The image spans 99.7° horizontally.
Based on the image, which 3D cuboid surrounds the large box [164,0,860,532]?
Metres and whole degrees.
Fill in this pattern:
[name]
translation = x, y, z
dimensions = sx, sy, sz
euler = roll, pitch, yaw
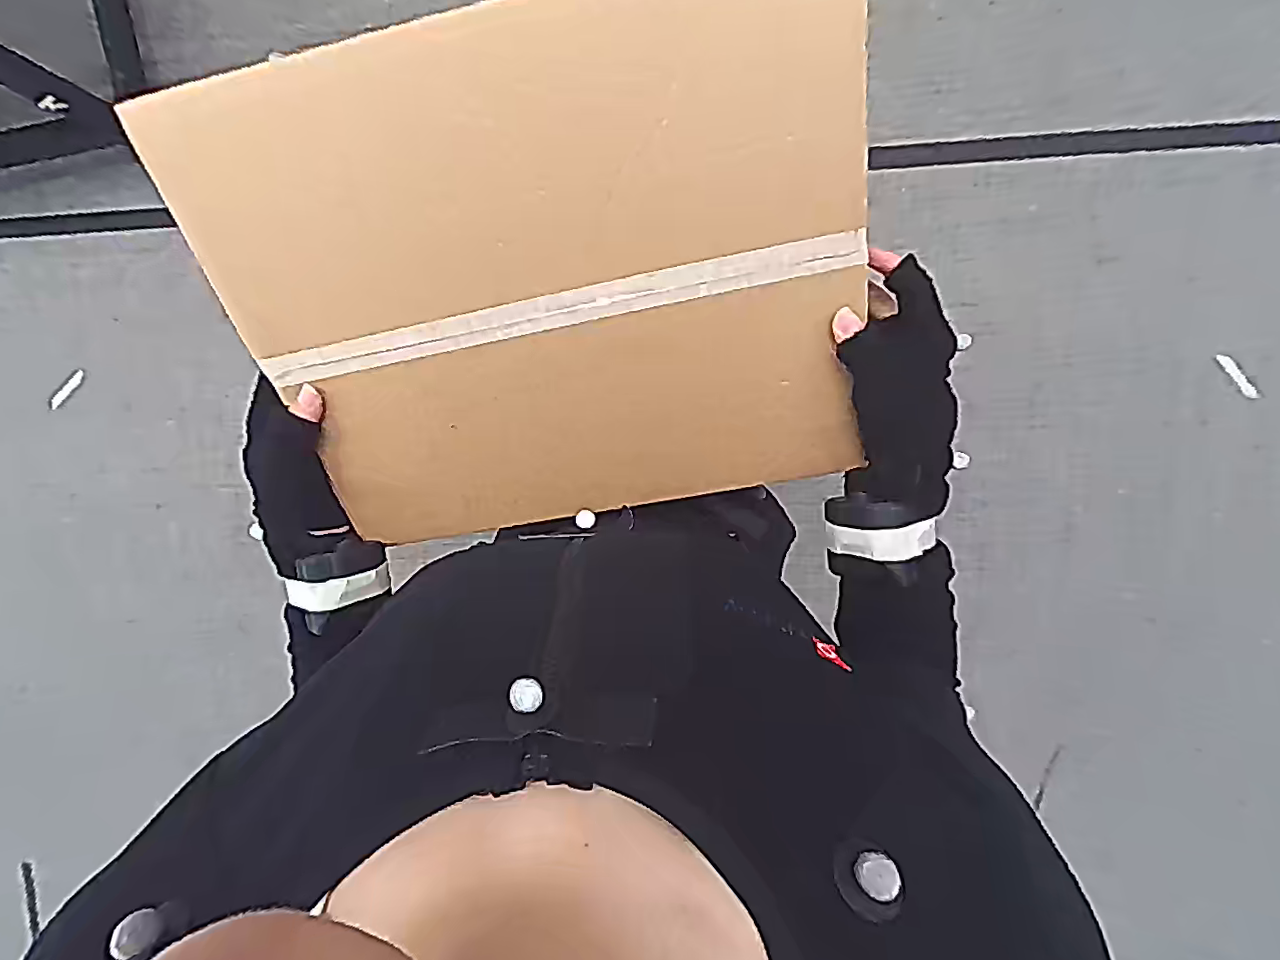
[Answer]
[large box]
translation = -0.057, -0.192, 0.492
dimensions = 0.408, 0.320, 0.320
euler = -10, 120, 7
